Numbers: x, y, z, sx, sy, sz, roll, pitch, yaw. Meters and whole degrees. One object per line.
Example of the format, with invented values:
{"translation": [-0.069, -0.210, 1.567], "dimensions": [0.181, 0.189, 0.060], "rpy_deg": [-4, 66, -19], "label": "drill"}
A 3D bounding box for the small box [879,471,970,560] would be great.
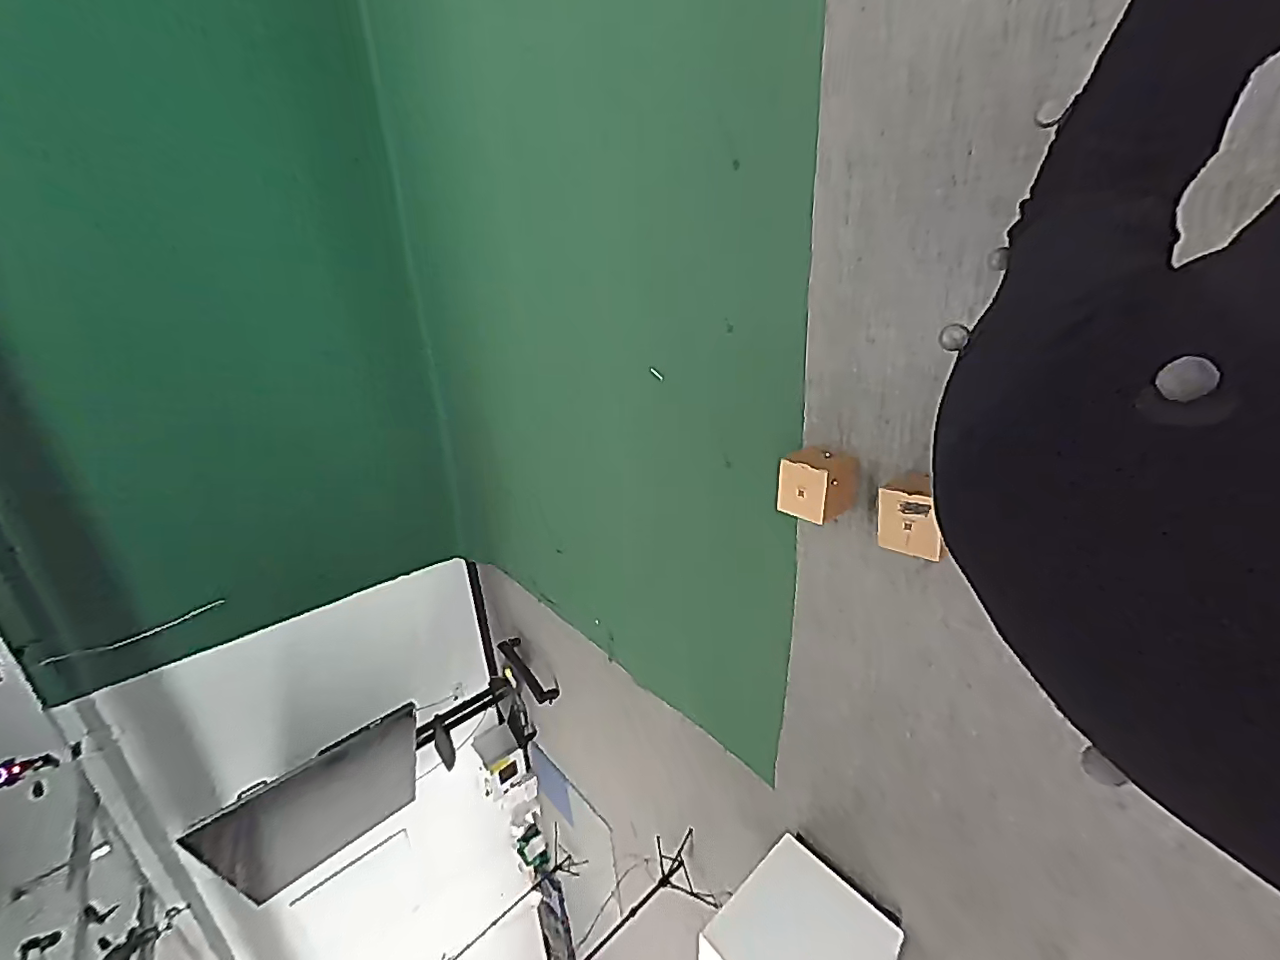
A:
{"translation": [0.763, 0.086, 1.449], "dimensions": [0.168, 0.176, 0.179], "rpy_deg": [15, 118, 48], "label": "small box"}

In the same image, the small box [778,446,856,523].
{"translation": [0.551, 0.008, 1.681], "dimensions": [0.168, 0.176, 0.179], "rpy_deg": [21, 121, 44], "label": "small box"}
